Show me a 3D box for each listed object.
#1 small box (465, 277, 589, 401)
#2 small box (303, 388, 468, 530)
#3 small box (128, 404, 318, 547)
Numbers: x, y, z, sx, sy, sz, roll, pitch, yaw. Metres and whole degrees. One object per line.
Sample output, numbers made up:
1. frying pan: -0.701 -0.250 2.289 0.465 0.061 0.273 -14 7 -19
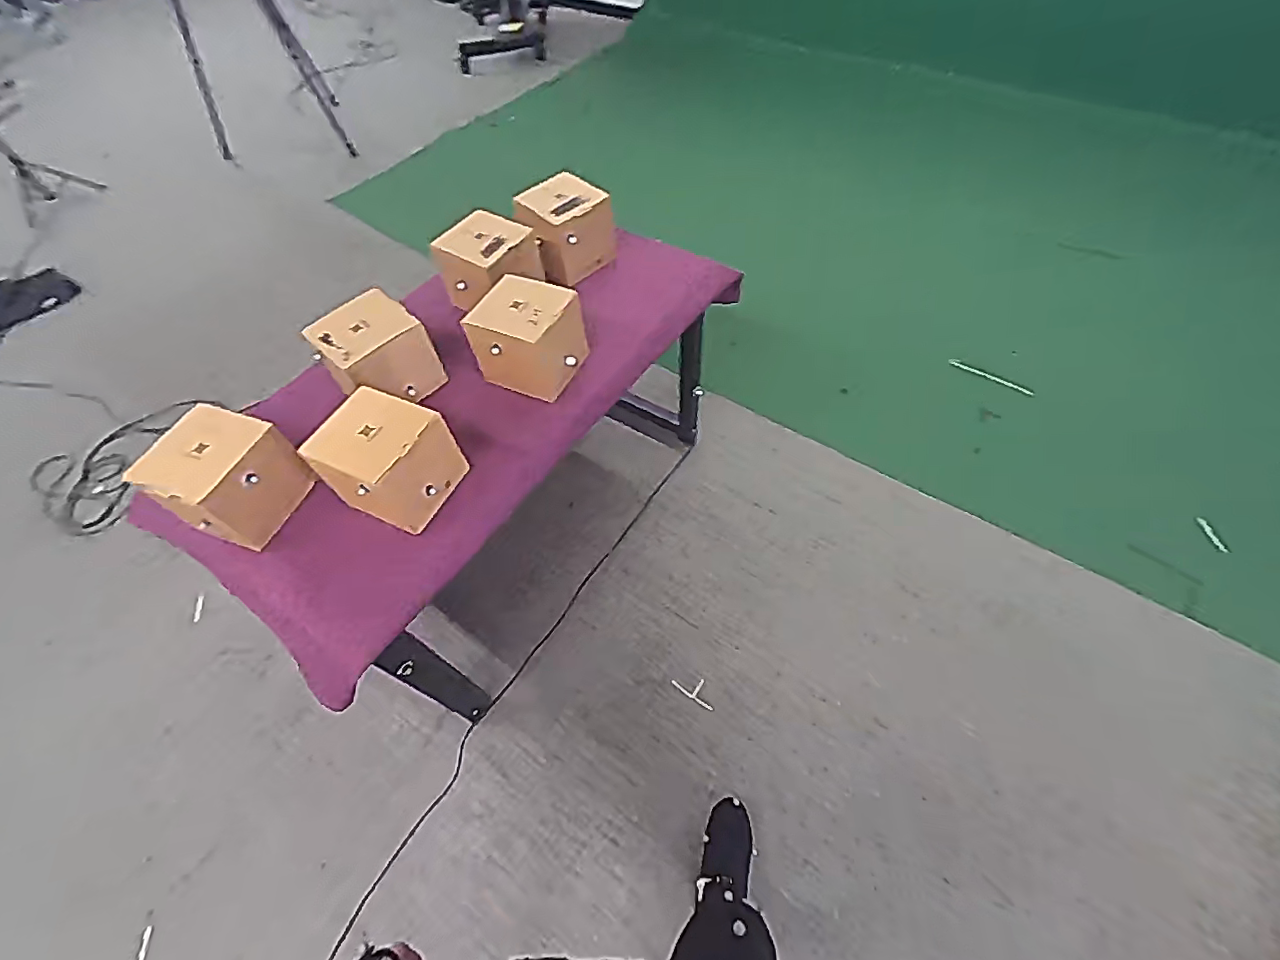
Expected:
1. small box: -0.228 -0.293 1.137 0.179 0.176 0.168 21 61 17
2. small box: -0.448 -0.034 0.979 0.179 0.176 0.168 20 59 16
3. small box: -0.730 -0.003 0.974 0.168 0.176 0.179 17 58 12
